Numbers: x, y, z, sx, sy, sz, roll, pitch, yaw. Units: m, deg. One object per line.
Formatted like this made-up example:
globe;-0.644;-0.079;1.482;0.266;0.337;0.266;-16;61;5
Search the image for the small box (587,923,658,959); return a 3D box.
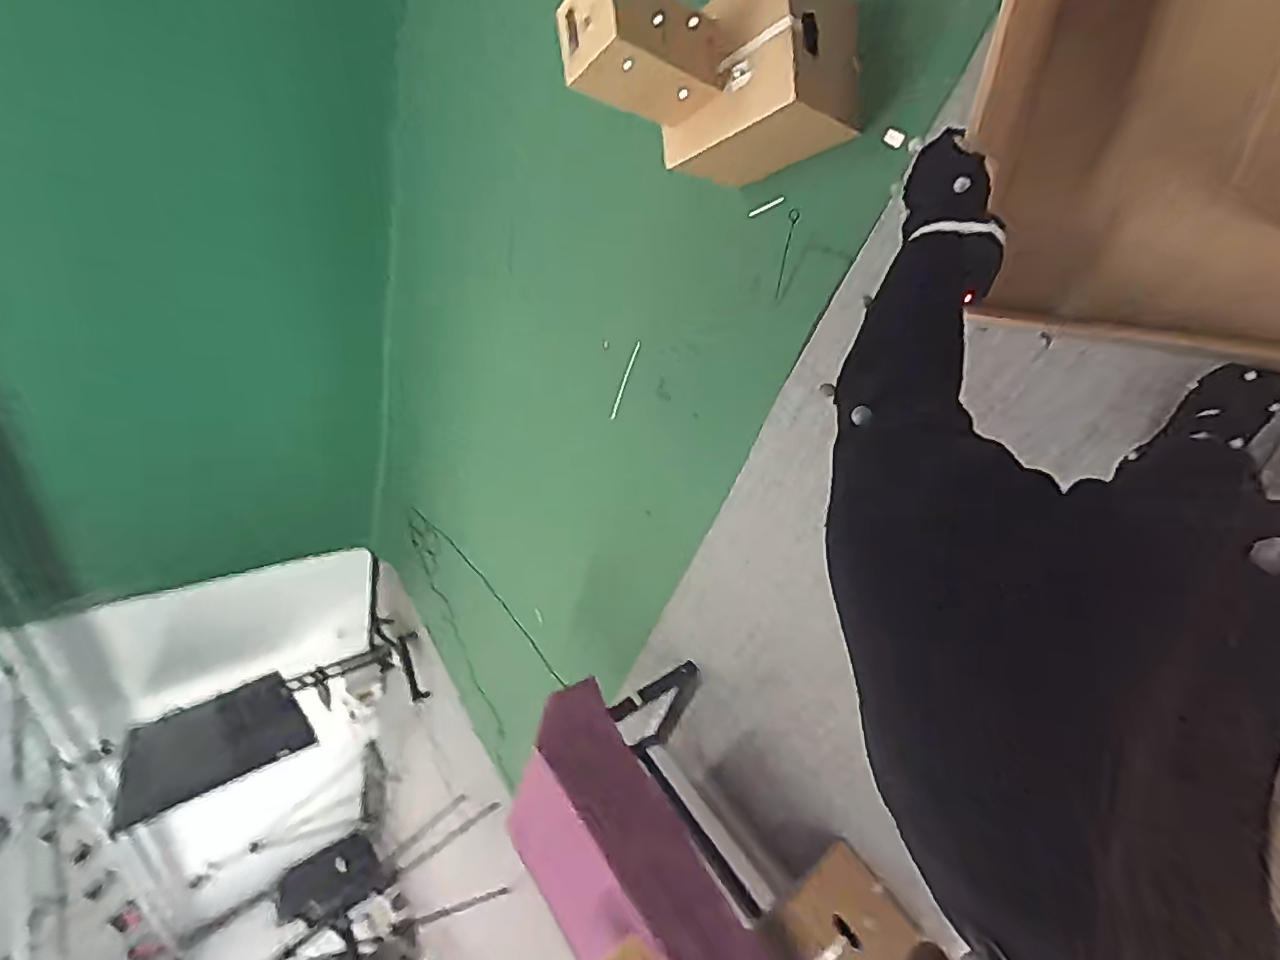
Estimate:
small box;-0.051;1.323;1.424;0.168;0.176;0.179;51;133;27
